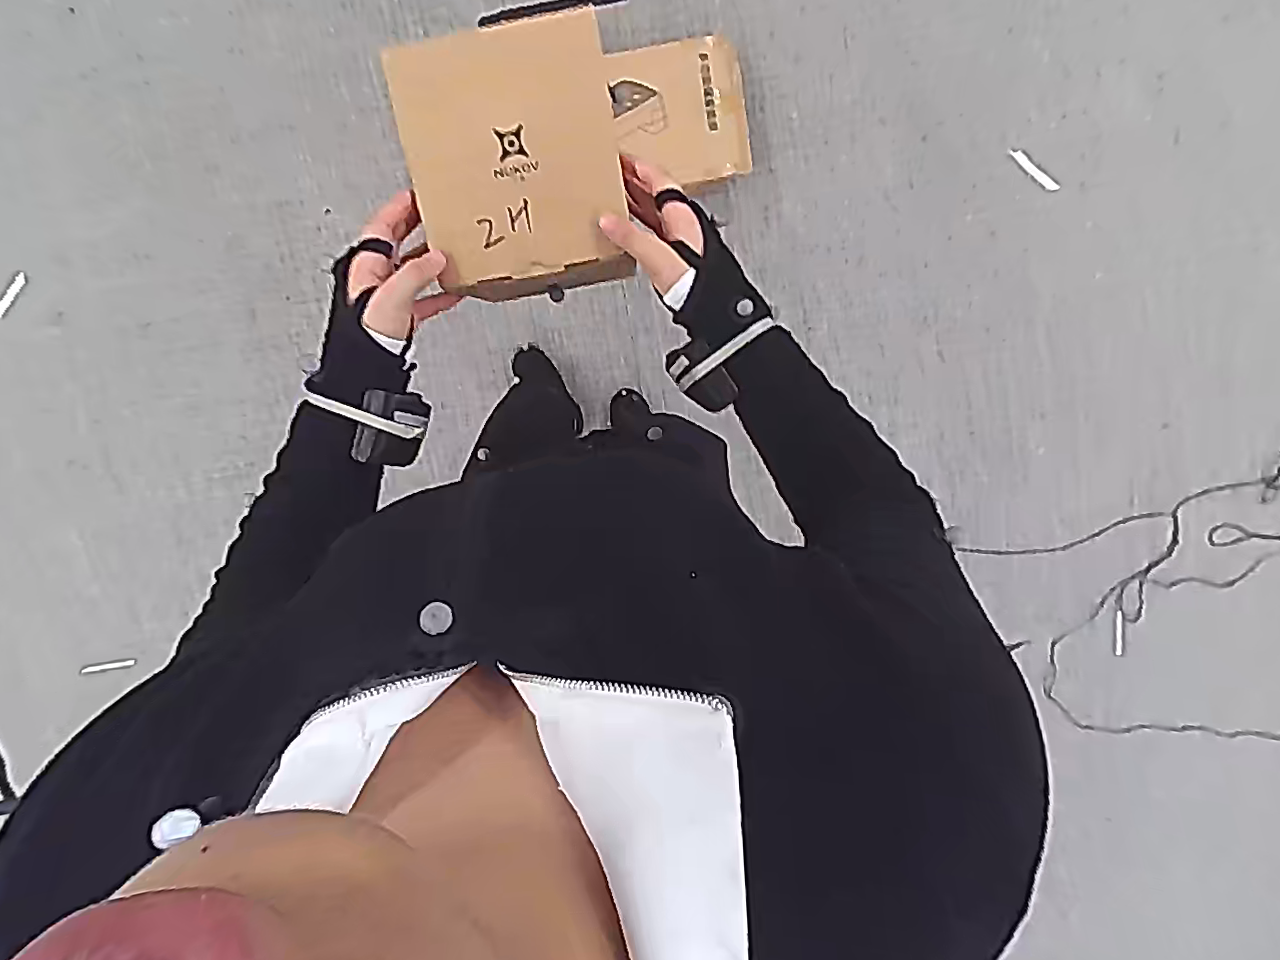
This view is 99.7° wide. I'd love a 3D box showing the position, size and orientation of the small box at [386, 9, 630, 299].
[{"bbox_3d":[-0.103,-0.279,0.507,0.168,0.176,0.179,-9,104,3],"label":"small box"}]
